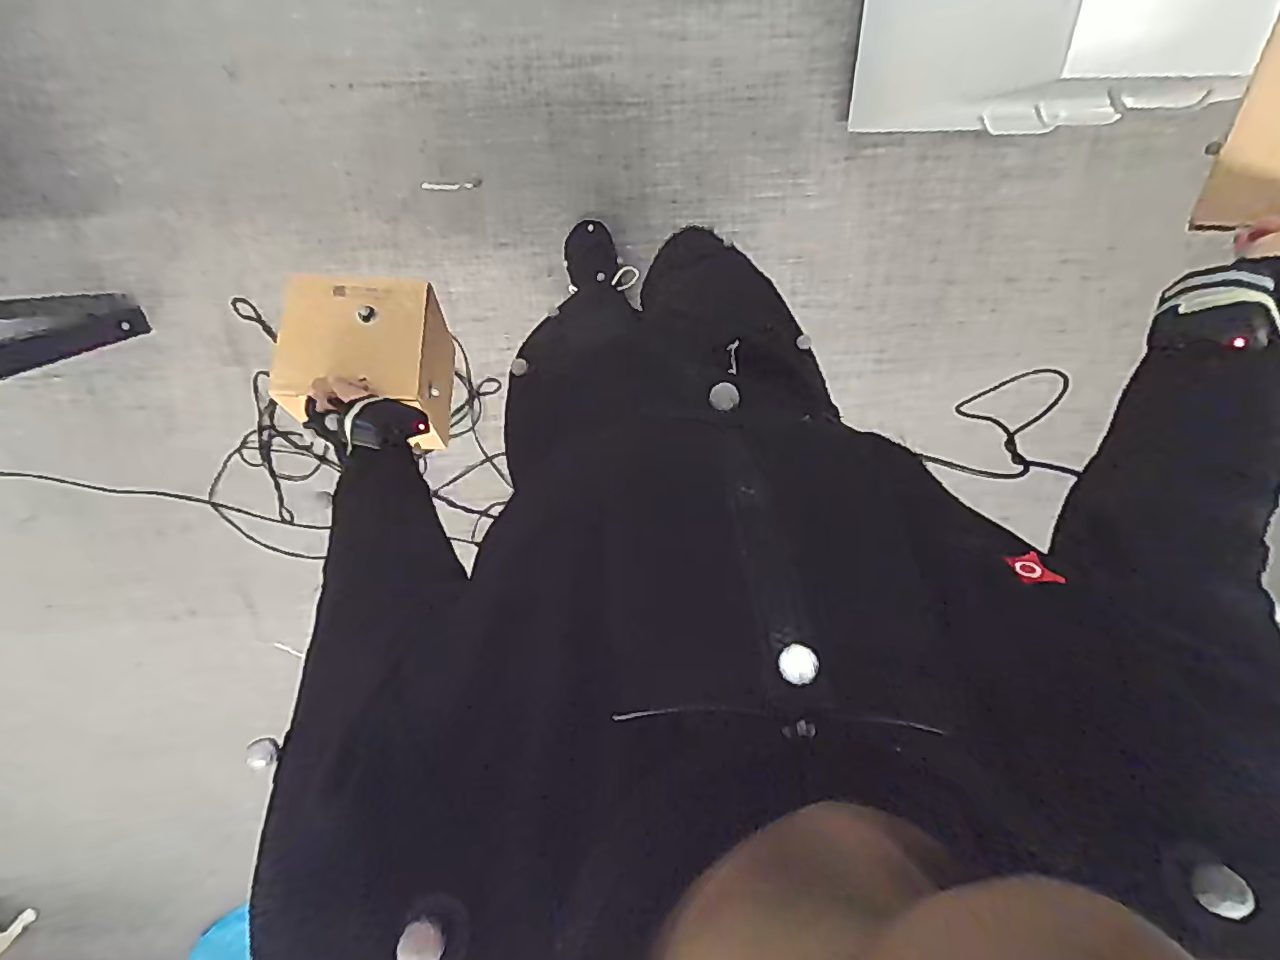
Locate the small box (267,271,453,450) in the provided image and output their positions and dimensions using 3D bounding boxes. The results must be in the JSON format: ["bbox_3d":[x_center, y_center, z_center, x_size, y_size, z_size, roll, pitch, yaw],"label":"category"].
[{"bbox_3d":[-0.356,-0.150,0.727,0.168,0.179,0.176,2,73,-7],"label":"small box"}]
